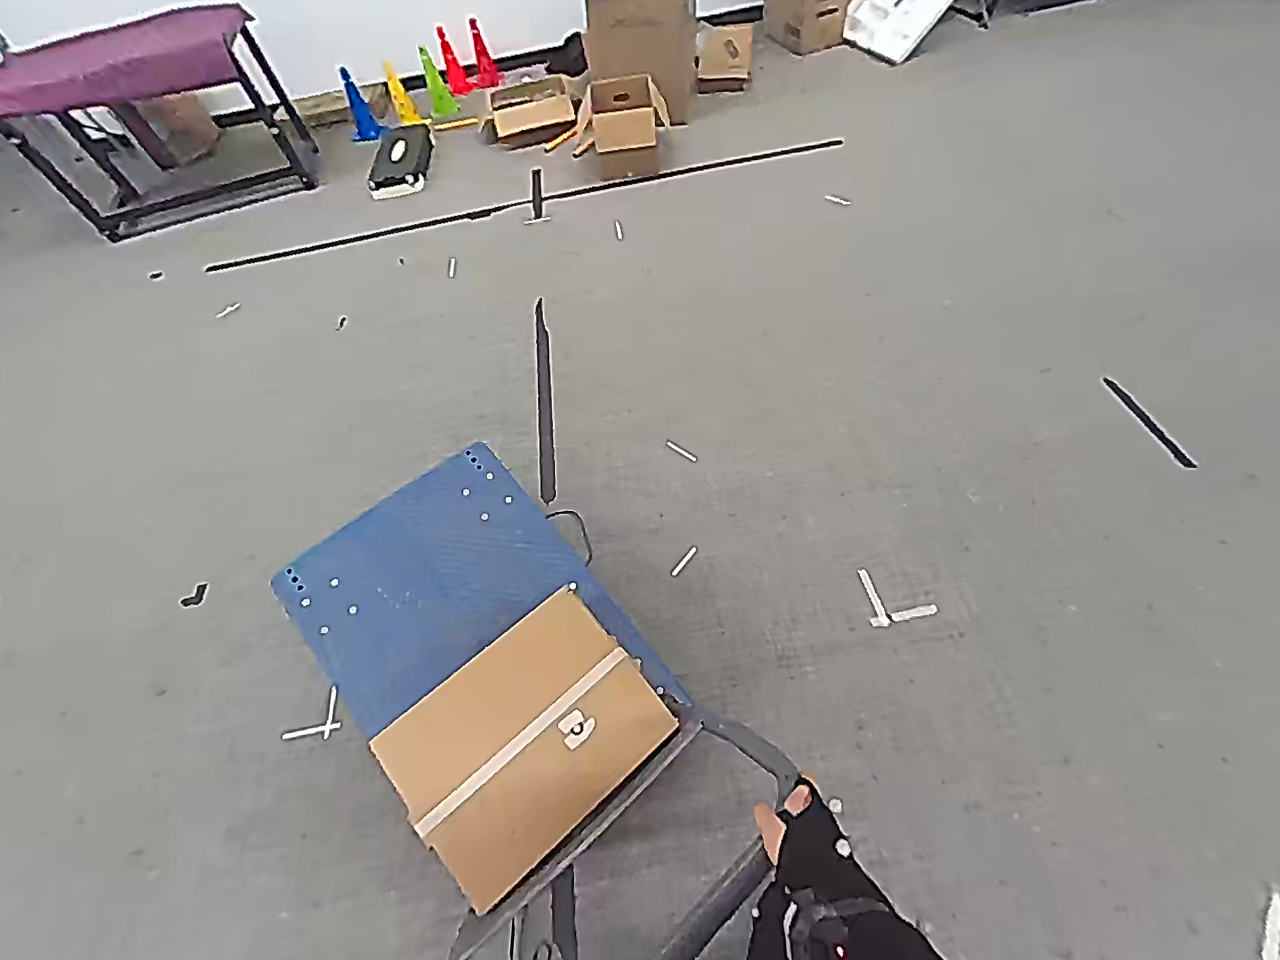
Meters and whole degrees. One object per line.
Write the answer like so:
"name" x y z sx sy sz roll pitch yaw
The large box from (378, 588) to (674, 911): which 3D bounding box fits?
"large box" -0.198 0.480 1.038 0.408 0.320 0.320 -38 77 -19
